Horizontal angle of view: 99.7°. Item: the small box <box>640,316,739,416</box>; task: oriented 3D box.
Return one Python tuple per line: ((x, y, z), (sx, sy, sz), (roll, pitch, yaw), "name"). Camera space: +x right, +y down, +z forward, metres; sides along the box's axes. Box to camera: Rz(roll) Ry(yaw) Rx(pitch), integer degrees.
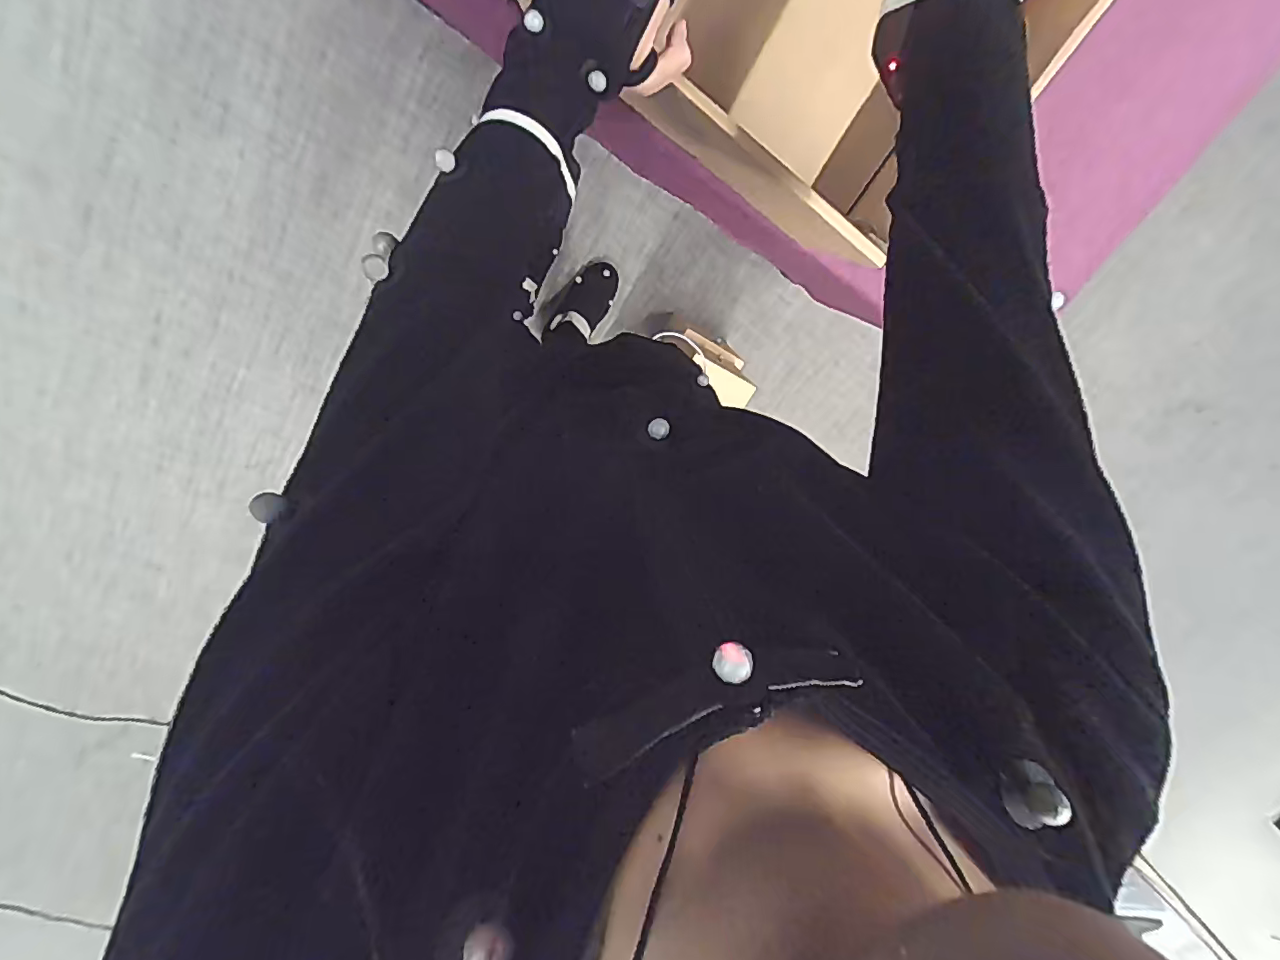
((0.121, -0.298, 1.386), (0.179, 0.176, 0.168), (25, 112, -21), "small box")
